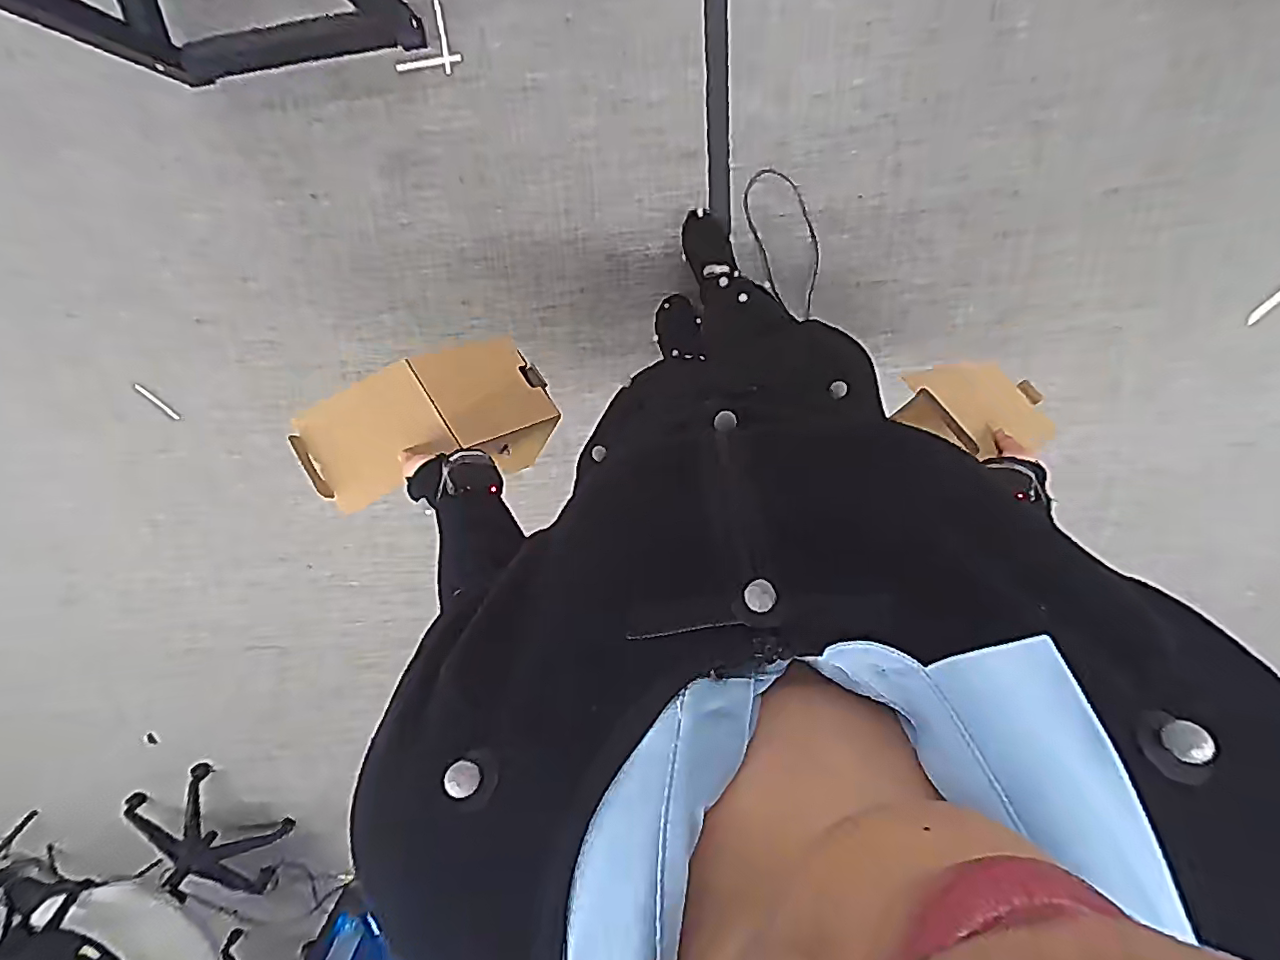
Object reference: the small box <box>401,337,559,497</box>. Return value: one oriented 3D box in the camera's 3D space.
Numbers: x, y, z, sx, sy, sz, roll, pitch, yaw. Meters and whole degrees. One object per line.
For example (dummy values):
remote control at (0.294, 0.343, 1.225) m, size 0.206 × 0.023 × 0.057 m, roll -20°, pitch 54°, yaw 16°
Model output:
small box at (-0.263, -0.096, 0.858) m, size 0.168 × 0.179 × 0.176 m, roll 56°, pitch 141°, yaw 10°
